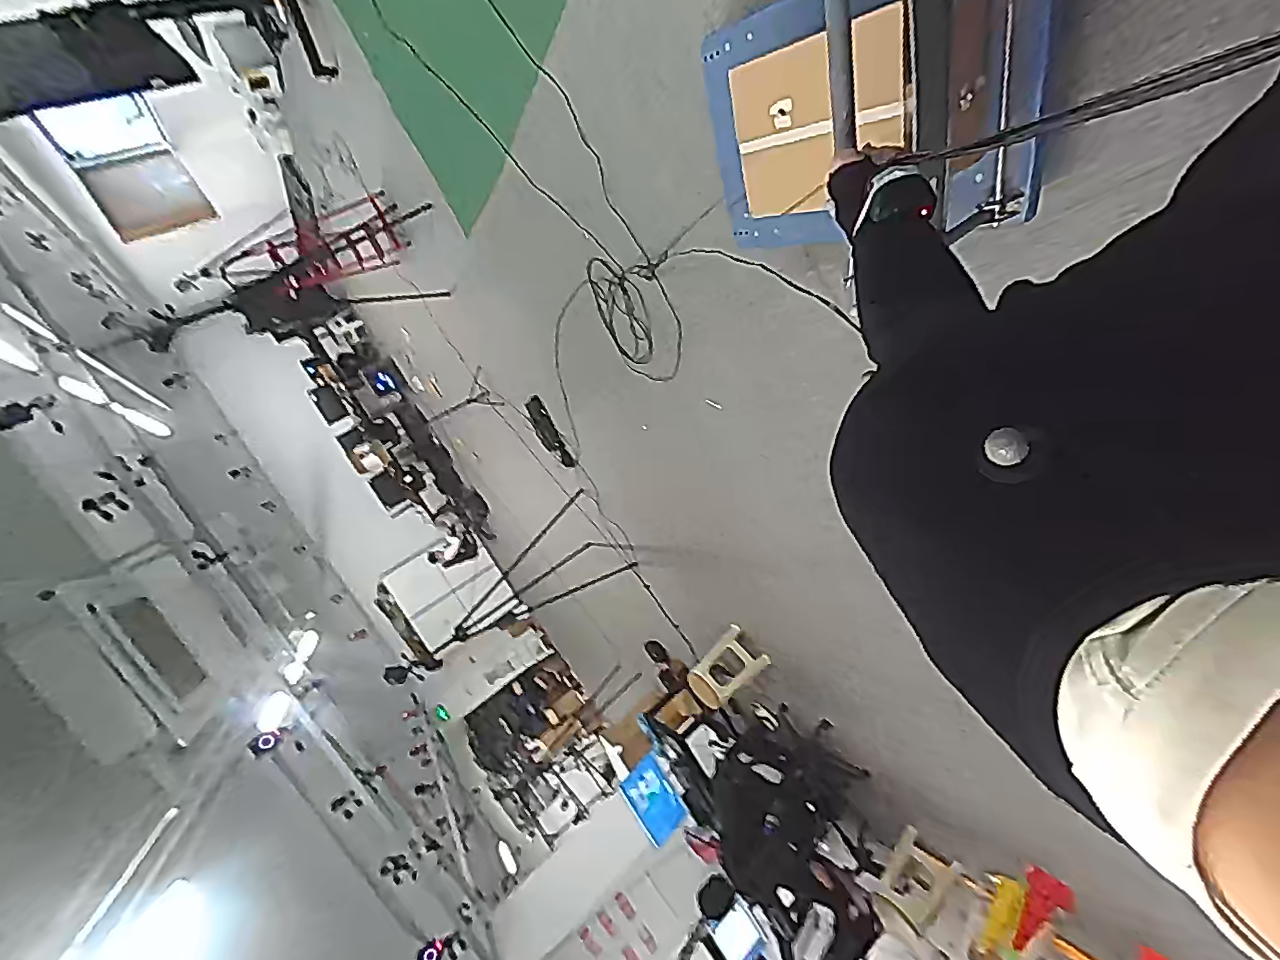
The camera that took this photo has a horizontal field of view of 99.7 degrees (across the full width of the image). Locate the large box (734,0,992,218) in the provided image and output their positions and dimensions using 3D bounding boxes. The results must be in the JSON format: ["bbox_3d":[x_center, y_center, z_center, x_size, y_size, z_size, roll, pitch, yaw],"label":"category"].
[{"bbox_3d":[0.477,-0.798,1.174,0.408,0.320,0.320,24,140,48],"label":"large box"}]
